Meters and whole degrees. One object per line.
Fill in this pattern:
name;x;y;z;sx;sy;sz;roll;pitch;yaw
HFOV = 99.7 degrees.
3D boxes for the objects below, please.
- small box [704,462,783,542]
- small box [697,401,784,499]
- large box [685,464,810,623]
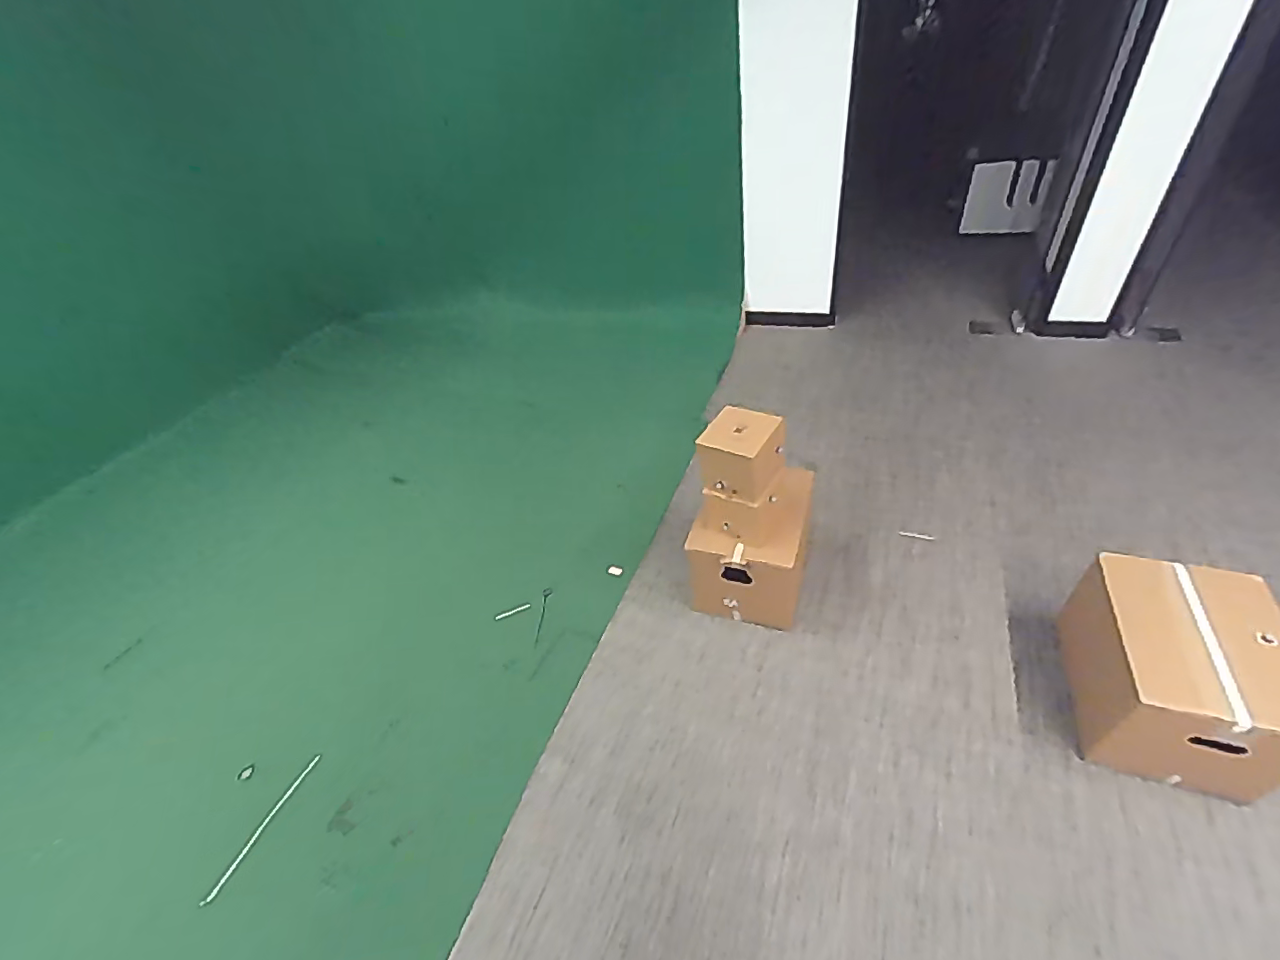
small box;0.297;0.044;1.542;0.168;0.176;0.179;17;50;29
small box;0.270;-0.081;1.441;0.168;0.176;0.179;19;52;31
large box;0.358;0.187;1.736;0.320;0.320;0.408;8;45;21
